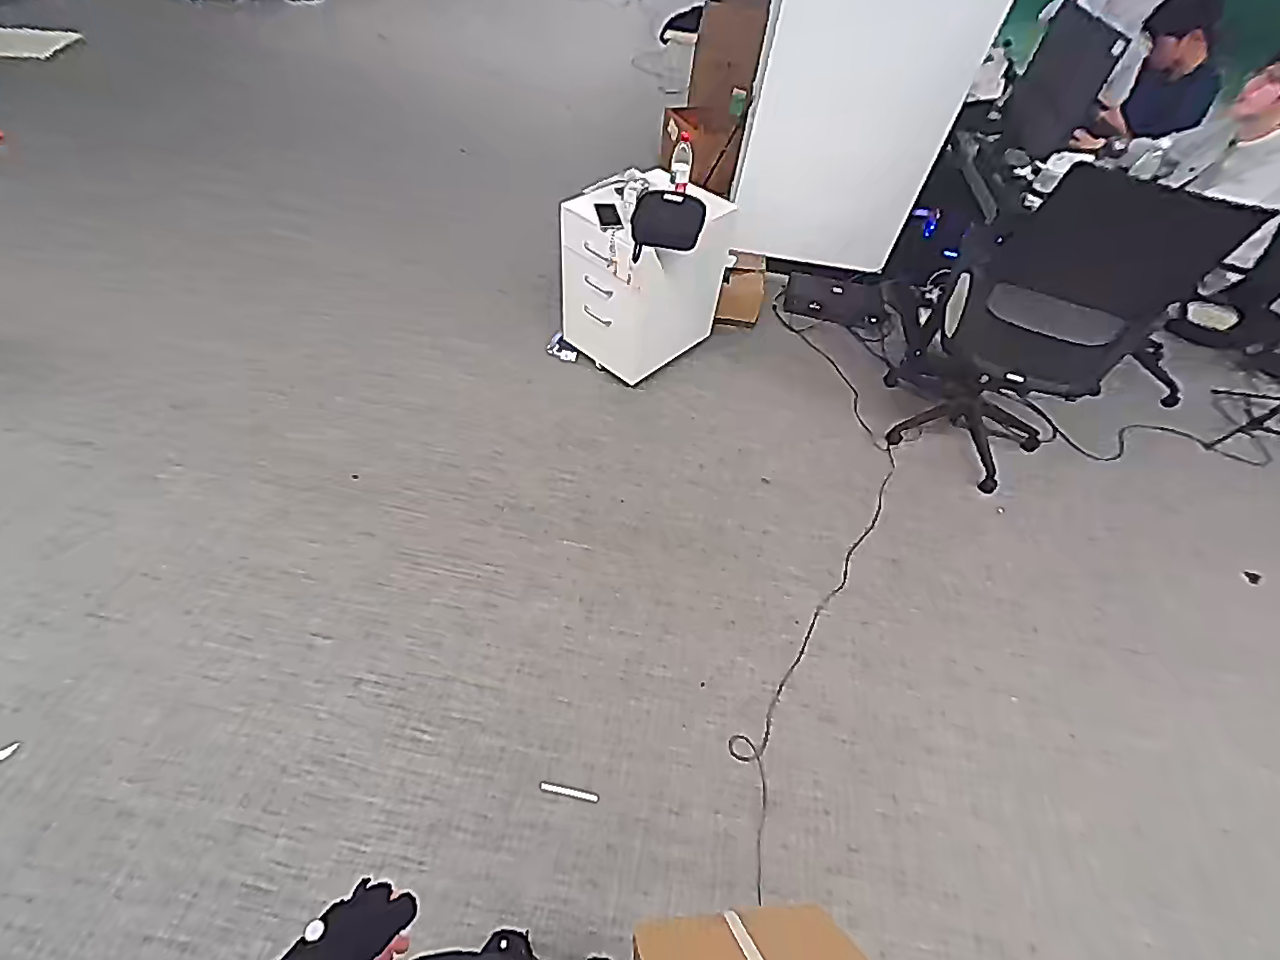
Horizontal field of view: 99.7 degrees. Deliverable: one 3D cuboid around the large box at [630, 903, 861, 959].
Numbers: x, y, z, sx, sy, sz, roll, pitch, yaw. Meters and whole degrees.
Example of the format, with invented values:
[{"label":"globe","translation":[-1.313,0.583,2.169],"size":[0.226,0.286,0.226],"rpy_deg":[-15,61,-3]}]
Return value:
[{"label":"large box","translation":[0.171,0.804,0.652],"size":[0.320,0.408,0.320],"rpy_deg":[0,78,-9]}]
